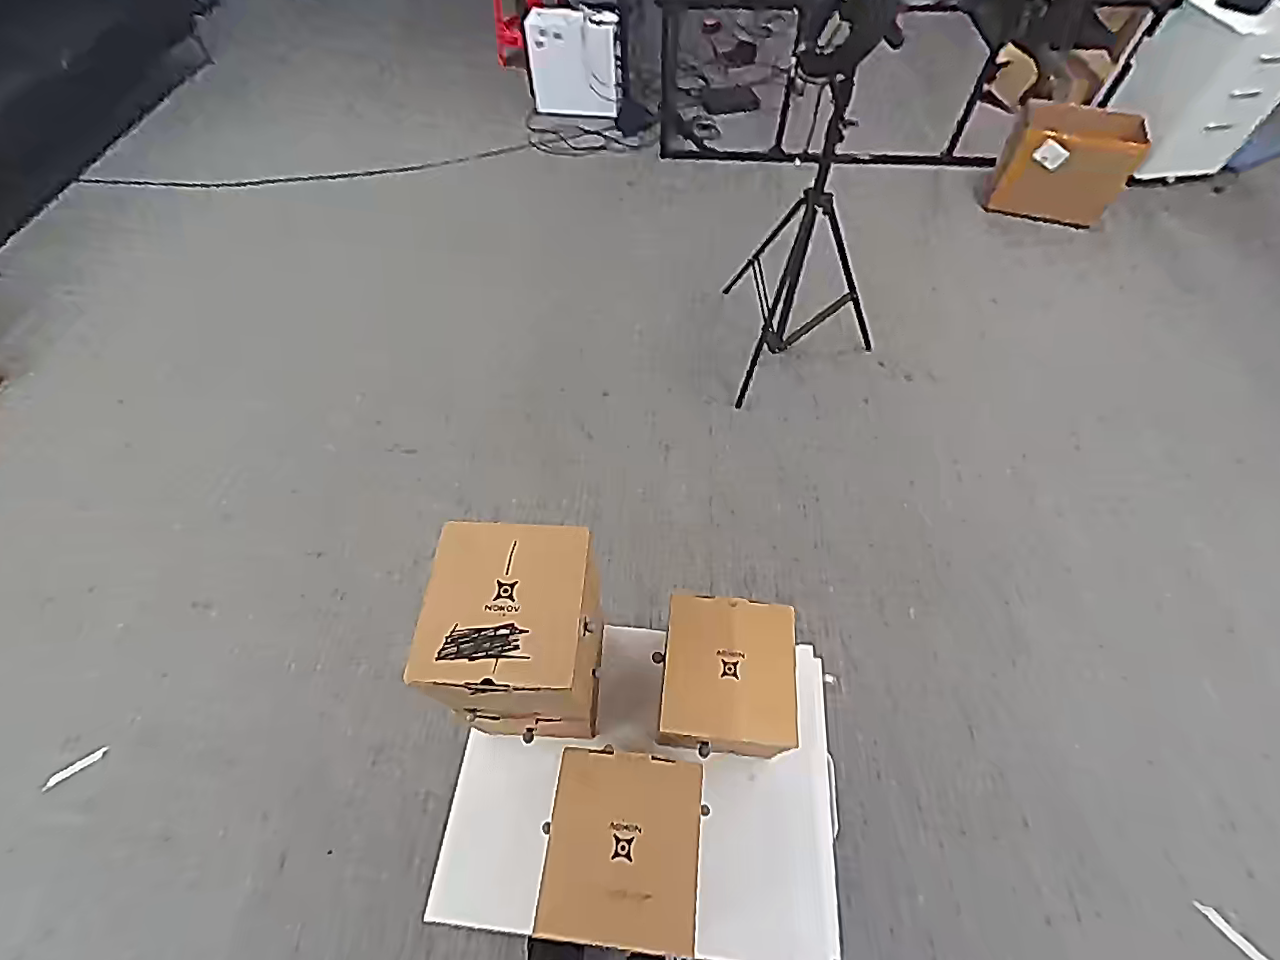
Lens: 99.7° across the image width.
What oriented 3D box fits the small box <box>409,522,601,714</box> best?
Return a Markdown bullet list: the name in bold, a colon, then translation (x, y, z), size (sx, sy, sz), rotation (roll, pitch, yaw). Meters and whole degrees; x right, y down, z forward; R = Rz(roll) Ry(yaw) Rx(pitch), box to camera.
- **small box**: translation (-0.137, 0.166, 0.628), size (0.168, 0.176, 0.179), rotation (2, 58, 2)
